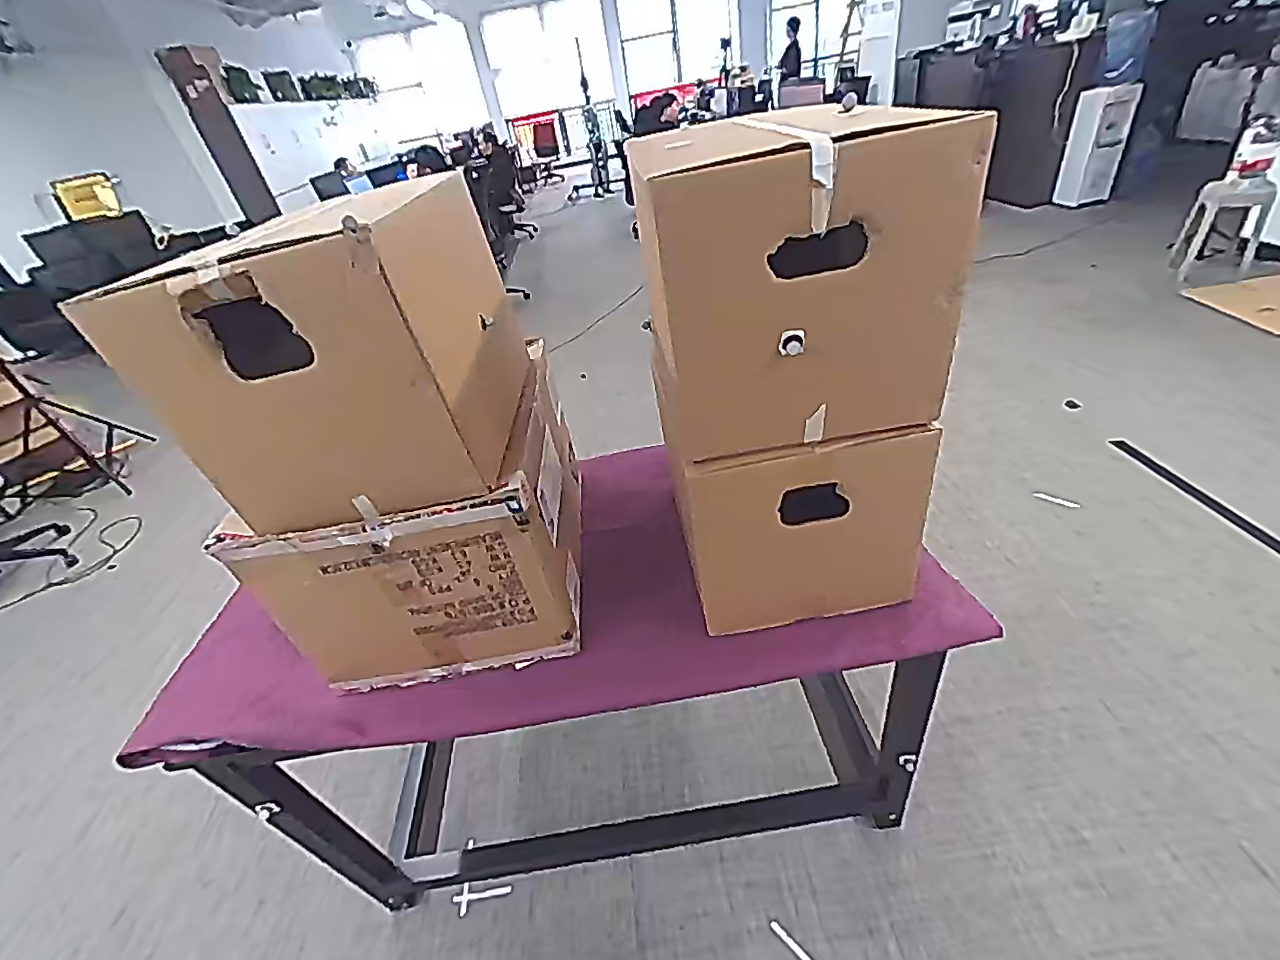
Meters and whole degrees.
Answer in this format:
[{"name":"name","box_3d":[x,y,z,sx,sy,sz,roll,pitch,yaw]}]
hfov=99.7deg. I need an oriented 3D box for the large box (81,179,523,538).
[{"name":"large box","box_3d":[-0.370,-0.186,0.748,0.320,0.320,0.408,-13,36,5]}]
